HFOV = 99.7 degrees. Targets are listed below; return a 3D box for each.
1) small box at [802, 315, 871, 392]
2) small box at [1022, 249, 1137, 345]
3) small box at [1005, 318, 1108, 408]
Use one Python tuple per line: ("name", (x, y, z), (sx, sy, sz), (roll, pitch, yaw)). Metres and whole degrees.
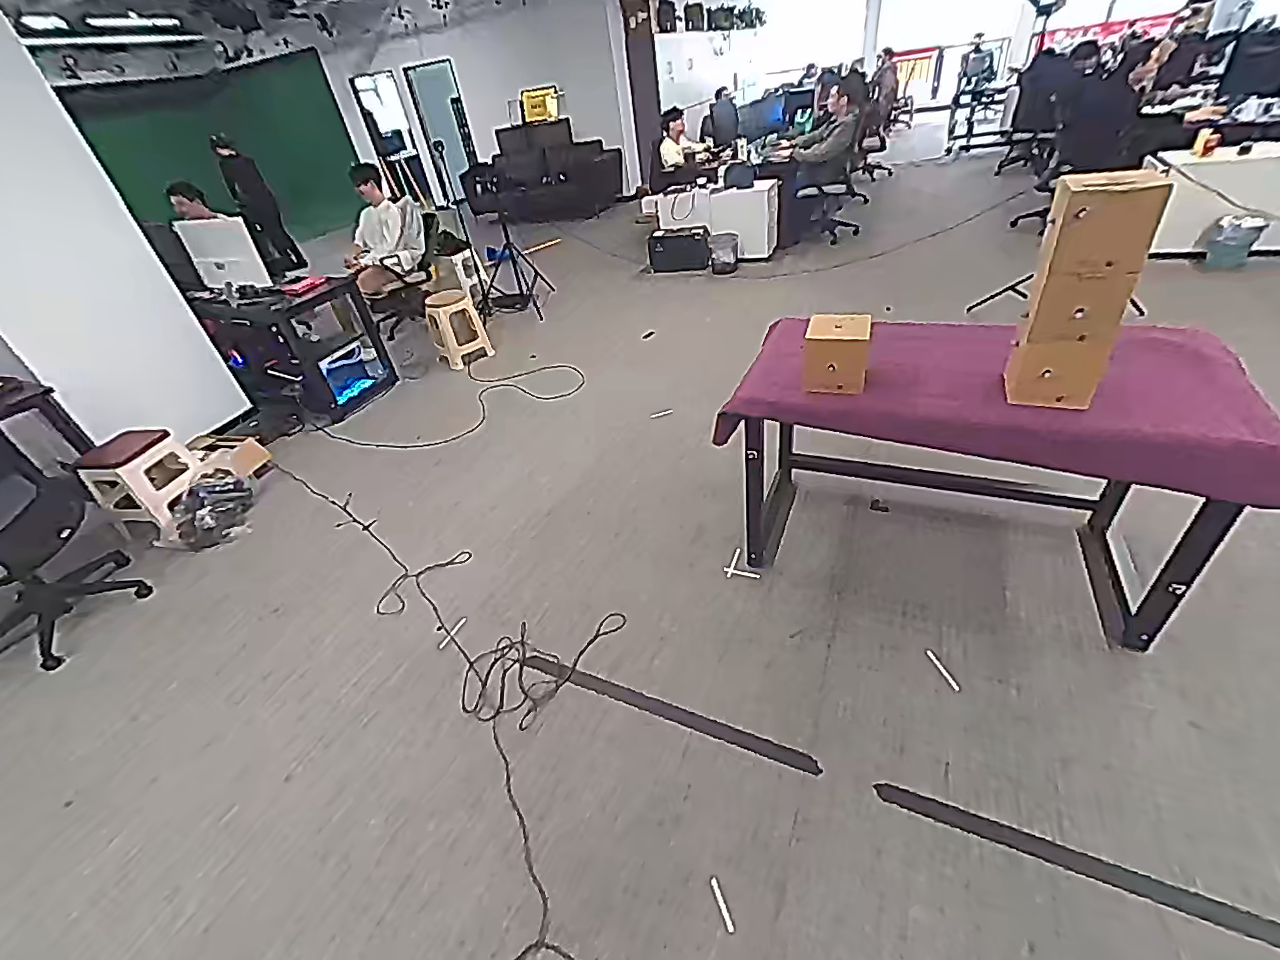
("small box", (0.565, -0.365, 1.559), (0.168, 0.176, 0.179), (8, 39, 20))
("small box", (1.025, -0.430, 1.276), (0.168, 0.176, 0.179), (10, 41, 25))
("small box", (1.045, -0.297, 1.371), (0.168, 0.176, 0.179), (9, 40, 24))
